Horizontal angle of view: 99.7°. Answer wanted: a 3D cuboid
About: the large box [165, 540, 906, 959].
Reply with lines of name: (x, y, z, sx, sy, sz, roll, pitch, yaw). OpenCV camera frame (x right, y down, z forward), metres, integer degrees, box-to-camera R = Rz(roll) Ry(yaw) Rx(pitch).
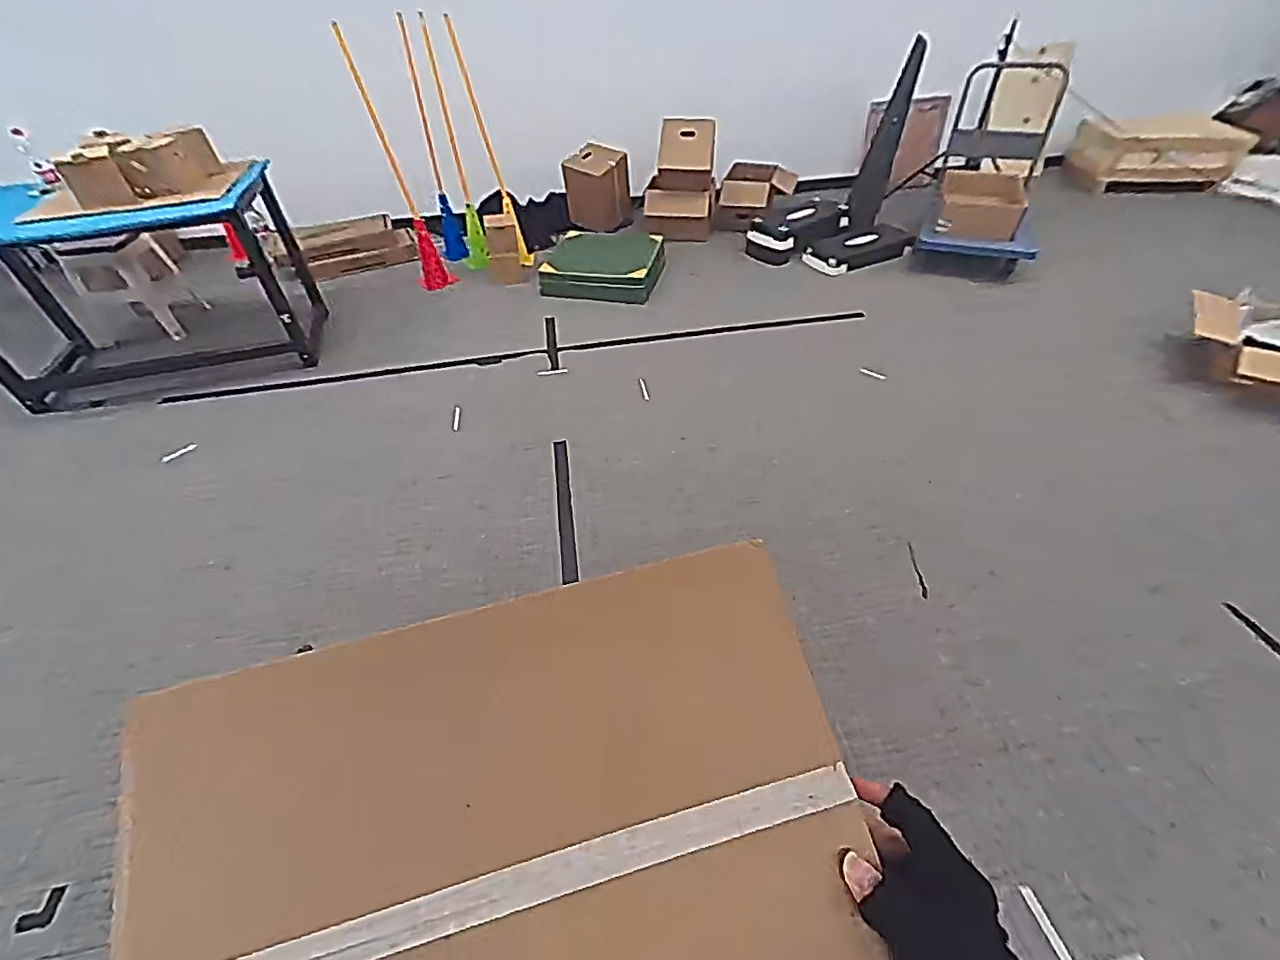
large box: (-0.073, 0.281, 0.454, 0.408, 0.320, 0.320, -13, 71, -7)
